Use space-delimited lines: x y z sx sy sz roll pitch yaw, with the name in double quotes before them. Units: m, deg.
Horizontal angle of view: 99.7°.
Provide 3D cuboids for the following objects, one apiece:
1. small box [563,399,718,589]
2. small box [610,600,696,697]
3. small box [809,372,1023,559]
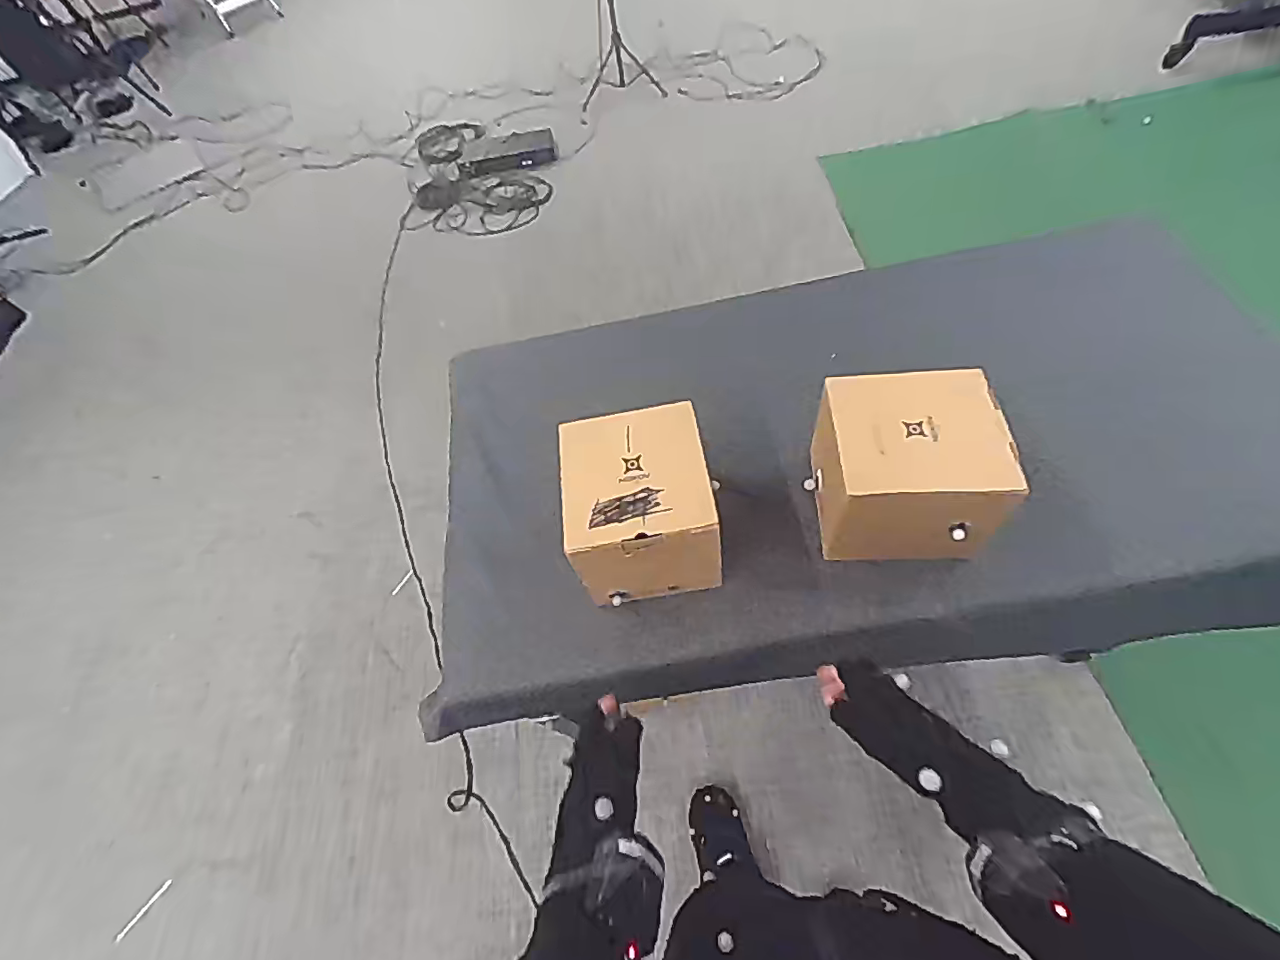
"small box" 0.004 0.027 0.680 0.168 0.176 0.179 -9 57 3
"small box" 0.035 0.413 1.305 0.168 0.176 0.179 -14 59 0
"small box" 0.314 -0.010 0.660 0.179 0.176 0.168 -2 58 9
